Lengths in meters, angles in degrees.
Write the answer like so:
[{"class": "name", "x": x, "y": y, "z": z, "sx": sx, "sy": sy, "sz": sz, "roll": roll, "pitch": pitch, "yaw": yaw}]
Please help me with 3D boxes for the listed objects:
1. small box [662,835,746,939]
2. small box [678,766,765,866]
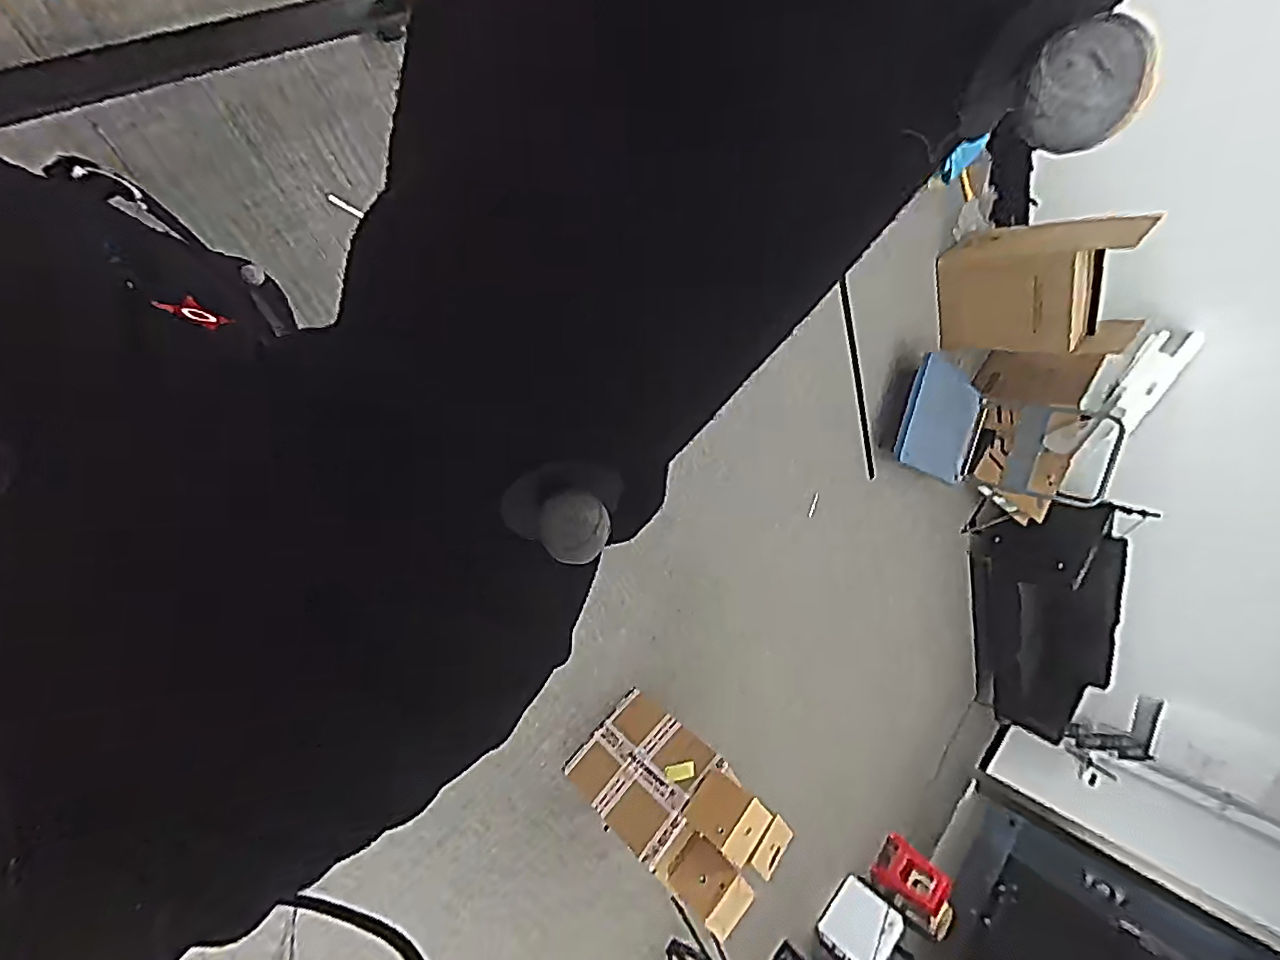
[{"class": "small box", "x": 0.205, "y": 1.269, "z": 1.688, "sx": 0.168, "sy": 0.176, "sz": 0.179, "roll": -41, "pitch": 124, "yaw": -22}, {"class": "small box", "x": 0.250, "y": 1.031, "z": 1.673, "sx": 0.179, "sy": 0.176, "sz": 0.168, "roll": -47, "pitch": 125, "yaw": -21}]
